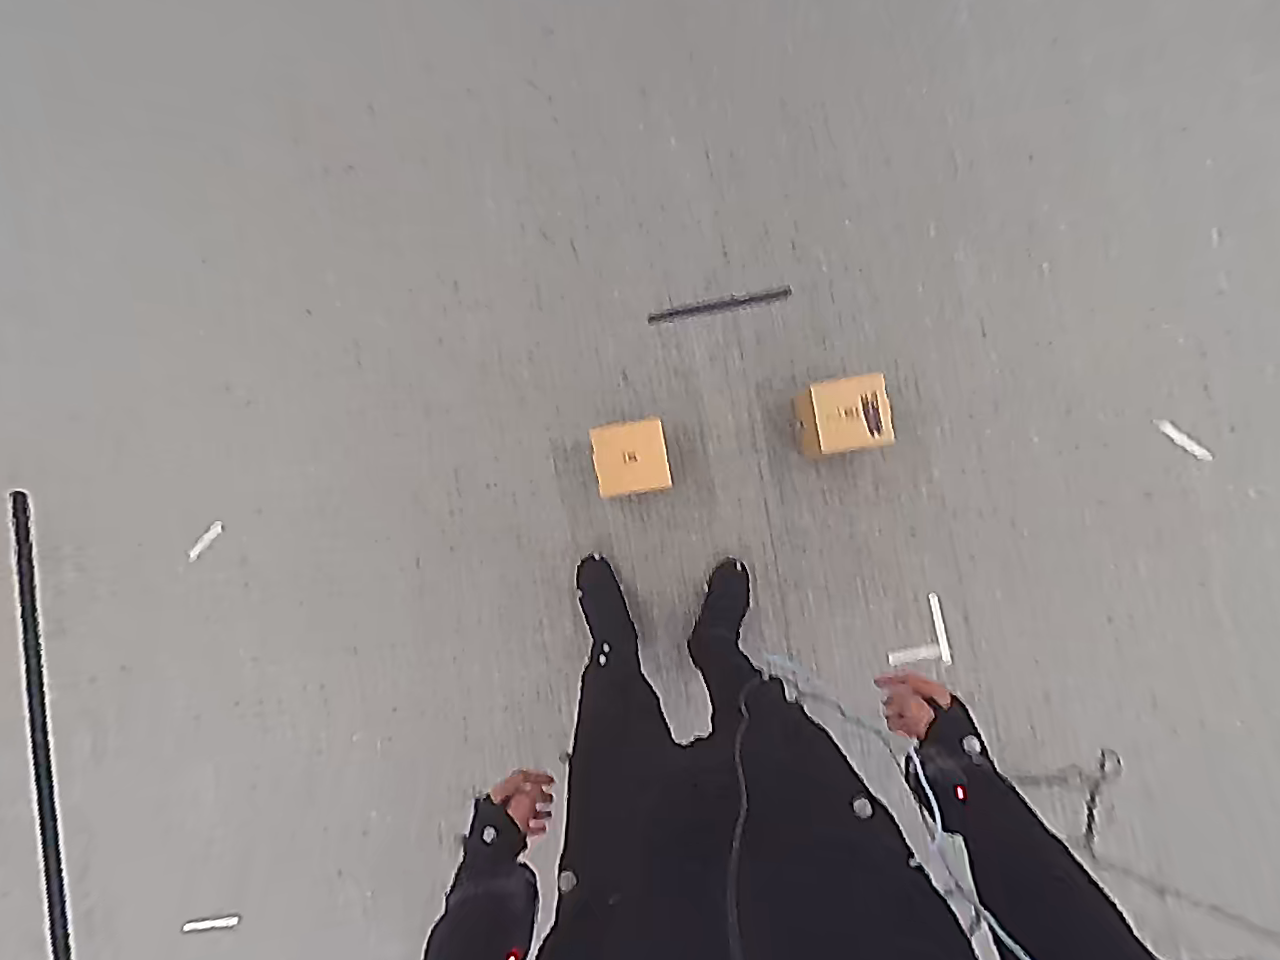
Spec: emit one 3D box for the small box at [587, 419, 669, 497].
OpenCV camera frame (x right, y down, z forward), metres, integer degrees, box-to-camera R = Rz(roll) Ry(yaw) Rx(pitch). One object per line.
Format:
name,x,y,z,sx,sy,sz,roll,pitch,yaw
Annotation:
small box,-0.027,-0.052,1.364,0.179,0.176,0.168,-10,88,3
